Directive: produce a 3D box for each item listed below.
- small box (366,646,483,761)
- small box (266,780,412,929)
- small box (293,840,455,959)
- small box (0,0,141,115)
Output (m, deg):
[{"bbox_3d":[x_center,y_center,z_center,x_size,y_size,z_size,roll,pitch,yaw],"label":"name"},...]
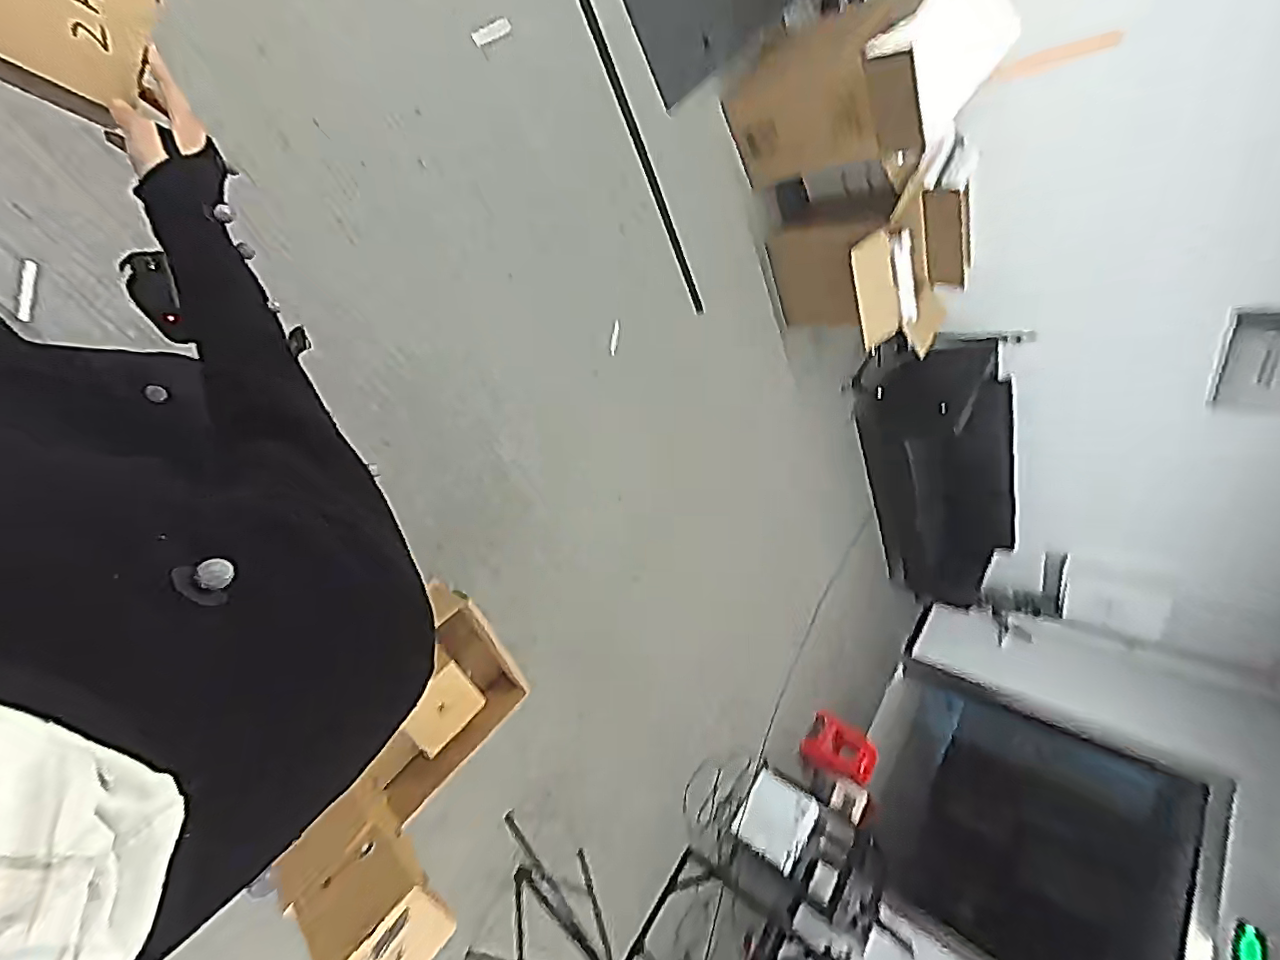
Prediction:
[{"bbox_3d":[-0.522,0.527,1.305,0.168,0.176,0.179,-43,129,-29],"label":"small box"},{"bbox_3d":[-0.588,0.735,1.050,0.179,0.176,0.168,-43,129,-29],"label":"small box"},{"bbox_3d":[-0.466,0.779,0.947,0.168,0.176,0.179,-40,128,-32],"label":"small box"},{"bbox_3d":[-0.556,-0.443,0.461,0.179,0.176,0.168,9,104,-51],"label":"small box"}]
